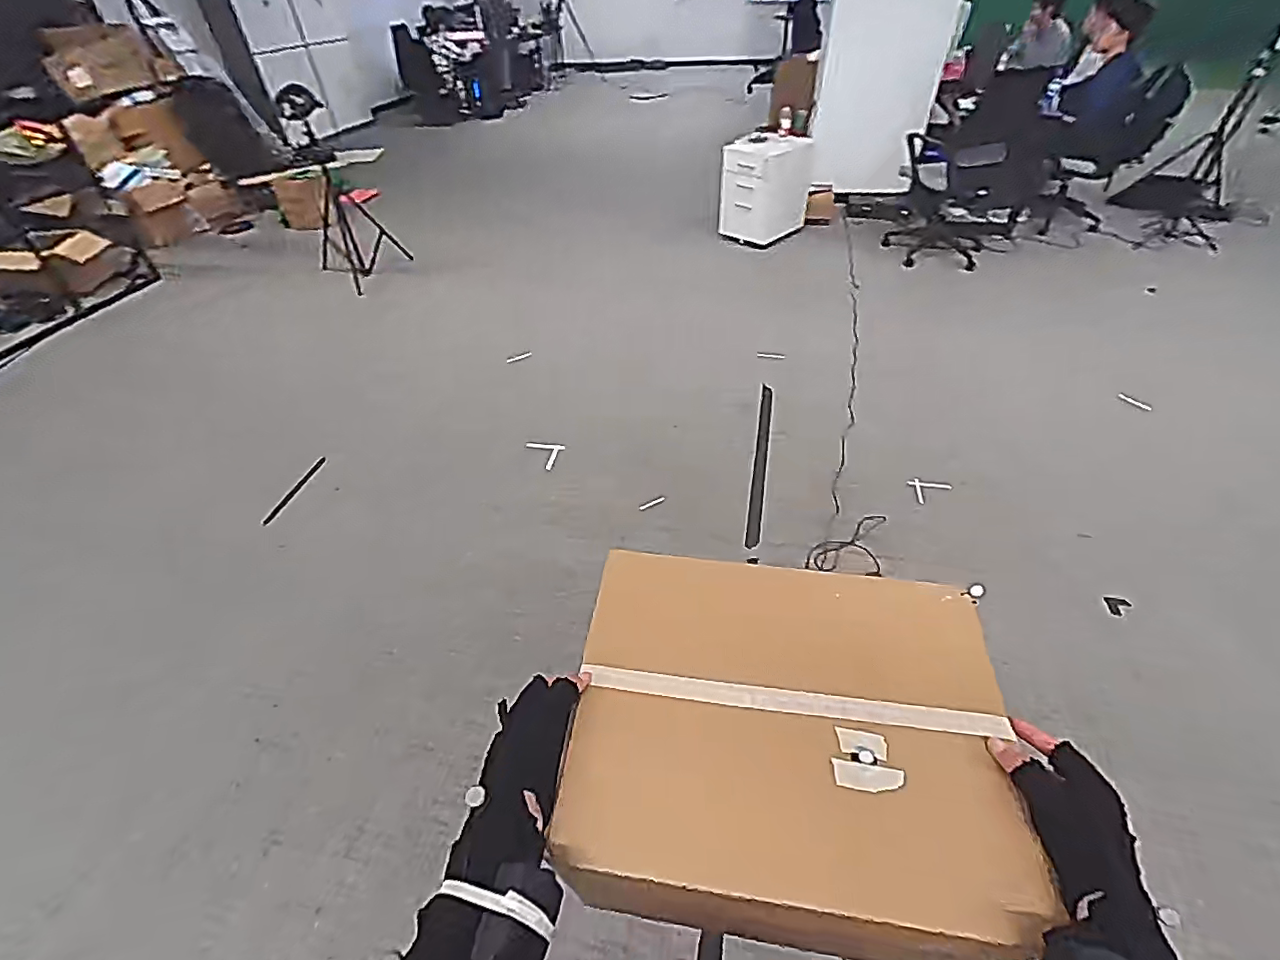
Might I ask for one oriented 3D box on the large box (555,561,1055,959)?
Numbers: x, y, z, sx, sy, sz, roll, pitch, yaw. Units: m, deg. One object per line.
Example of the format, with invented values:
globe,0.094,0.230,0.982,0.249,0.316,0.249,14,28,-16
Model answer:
large box,0.146,0.325,0.641,0.408,0.320,0.320,5,48,8
